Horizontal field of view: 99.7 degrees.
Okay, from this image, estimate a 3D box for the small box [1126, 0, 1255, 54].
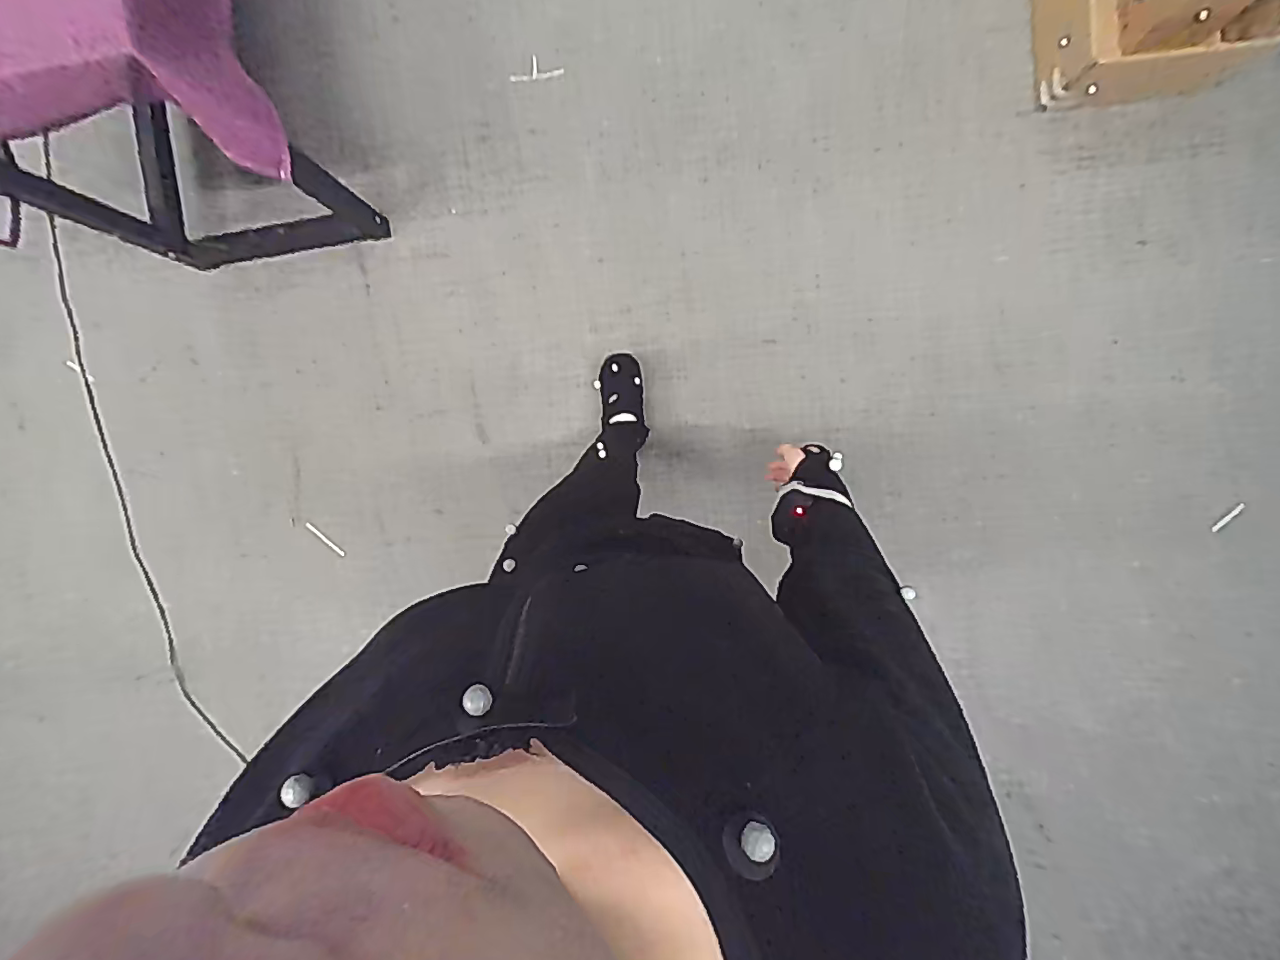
[{"bbox_3d":[1.230,-1.091,1.199,0.179,0.176,0.168,-4,92,6],"label":"small box"}]
